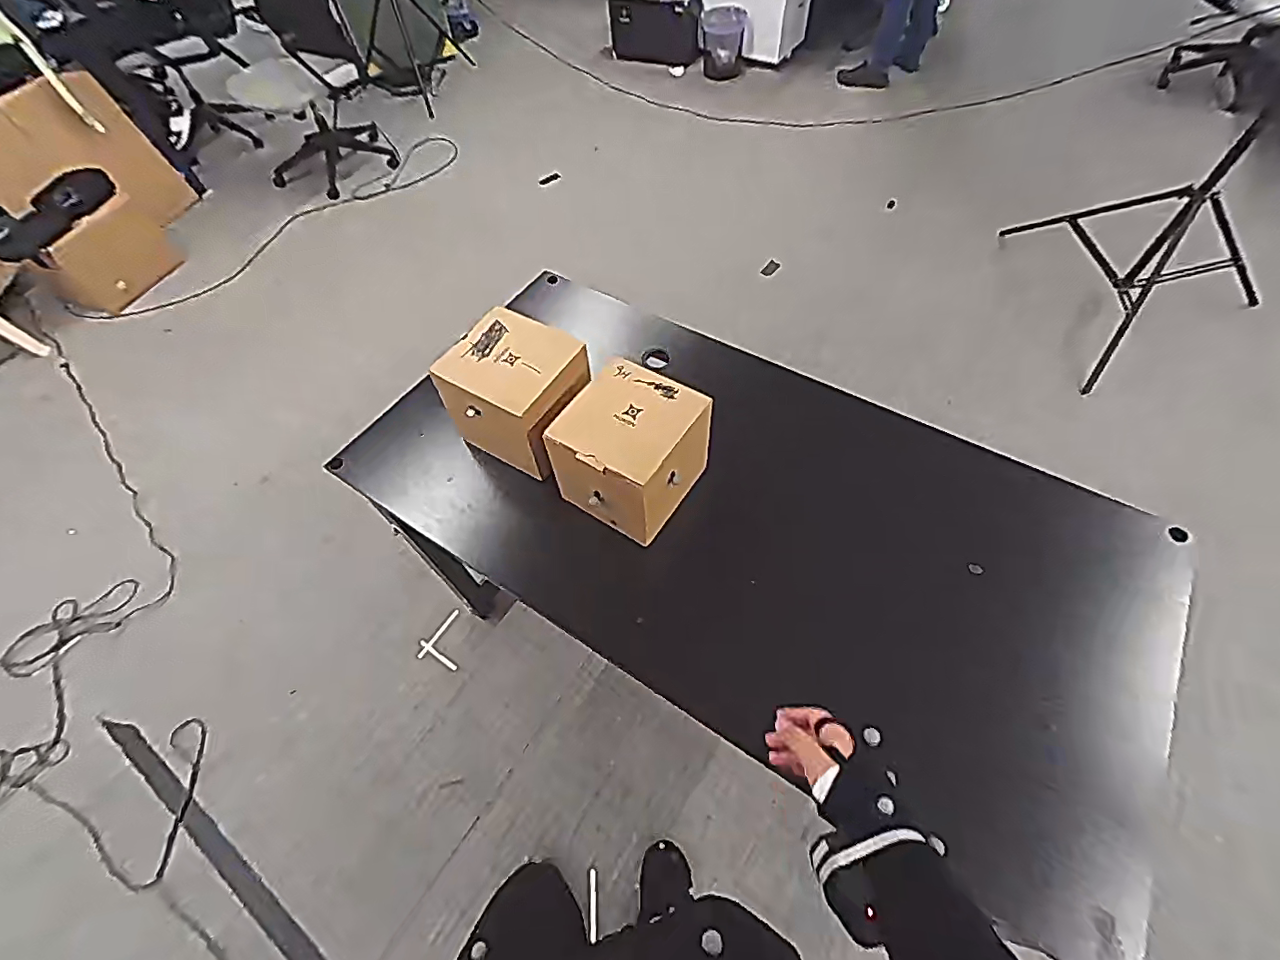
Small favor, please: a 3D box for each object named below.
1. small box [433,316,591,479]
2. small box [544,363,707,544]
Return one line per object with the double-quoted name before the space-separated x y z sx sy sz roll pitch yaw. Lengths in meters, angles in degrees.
"small box" -0.193 -0.129 0.880 0.179 0.176 0.168 26 62 18
"small box" -0.013 -0.034 0.810 0.168 0.176 0.179 28 63 20
